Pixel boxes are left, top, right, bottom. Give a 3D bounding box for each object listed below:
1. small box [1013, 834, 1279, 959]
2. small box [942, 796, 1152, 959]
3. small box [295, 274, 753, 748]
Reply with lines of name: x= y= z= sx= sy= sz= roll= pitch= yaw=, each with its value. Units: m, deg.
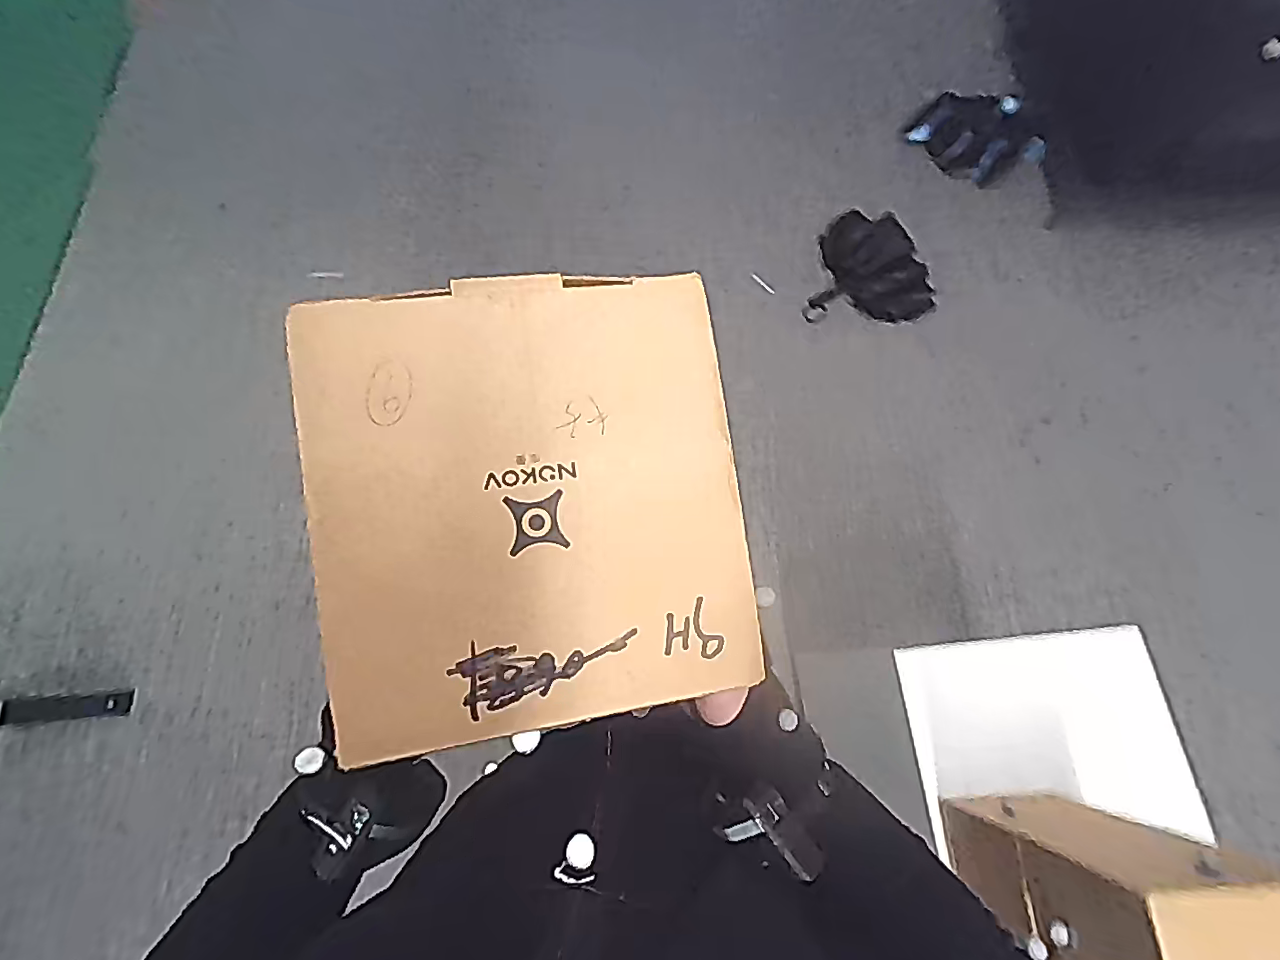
small box: x=0.514 y=0.462 z=0.523 sx=0.179 sy=0.176 sz=0.168 roll=-1 pitch=72 yaw=-1
small box: x=0.510 y=0.511 z=0.679 sx=0.179 sy=0.176 sz=0.168 roll=-1 pitch=73 yaw=-3
small box: x=-0.057 y=0.013 z=0.299 sx=0.168 sy=0.176 sz=0.179 roll=-9 pitch=86 yaw=-9
